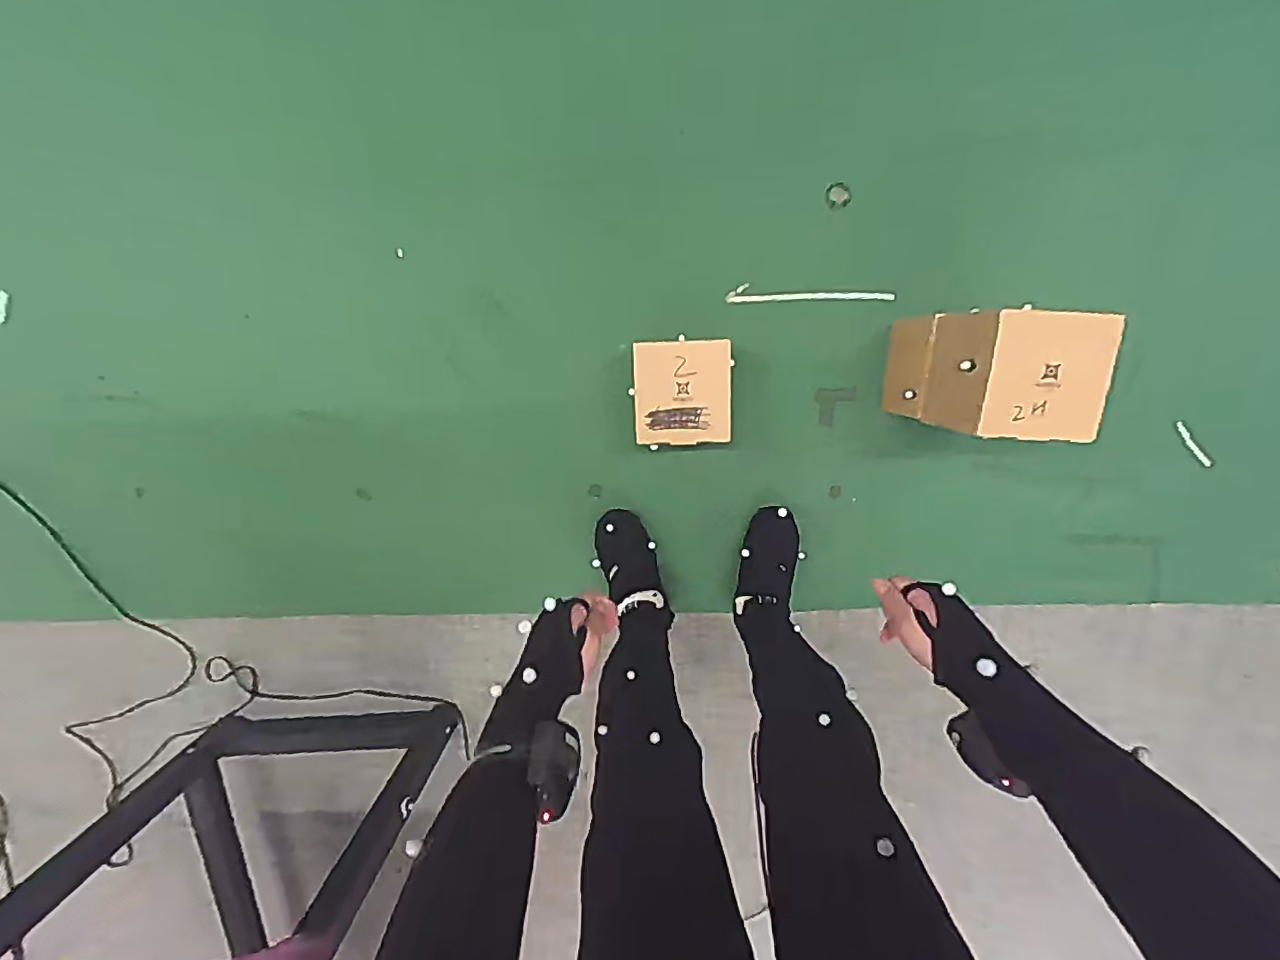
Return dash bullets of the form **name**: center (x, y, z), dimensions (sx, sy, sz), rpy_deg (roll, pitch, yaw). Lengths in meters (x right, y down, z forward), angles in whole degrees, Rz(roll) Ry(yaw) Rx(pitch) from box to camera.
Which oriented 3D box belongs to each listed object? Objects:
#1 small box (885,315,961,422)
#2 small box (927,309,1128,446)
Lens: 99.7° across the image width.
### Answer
- **small box**: center (0.561, -0.197, 0.968), dimensions (0.168, 0.176, 0.179), rpy_deg (2, 104, 1)
- **small box**: center (0.559, -0.154, 0.809), dimensions (0.168, 0.176, 0.179), rpy_deg (4, 104, 1)
